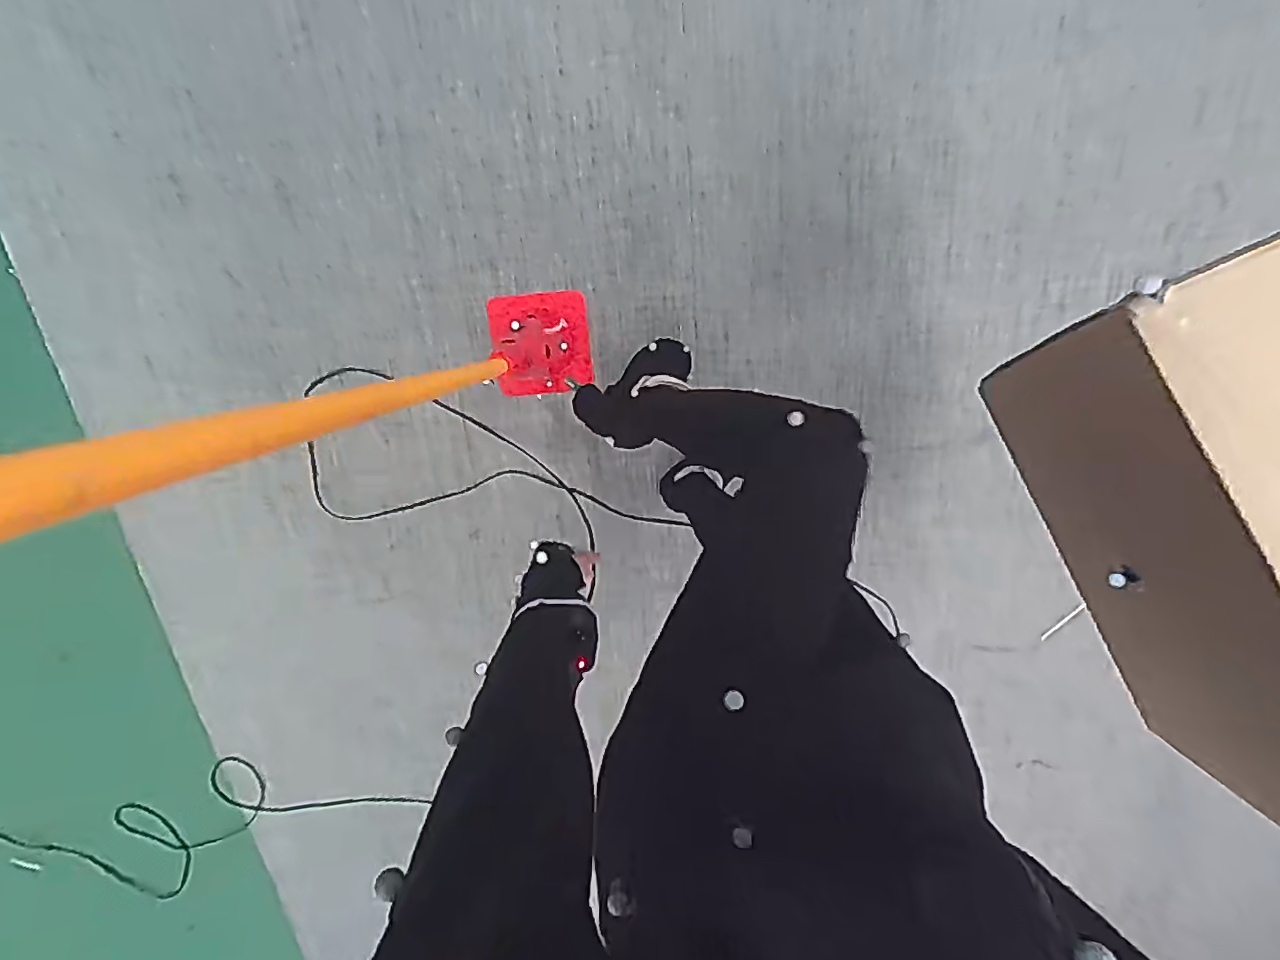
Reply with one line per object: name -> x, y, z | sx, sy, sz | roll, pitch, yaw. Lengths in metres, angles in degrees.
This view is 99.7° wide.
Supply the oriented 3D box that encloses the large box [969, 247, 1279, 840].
large box -> 0.535, 0.029, 0.417 | 0.320, 0.320, 0.408 | -25, 82, 16
